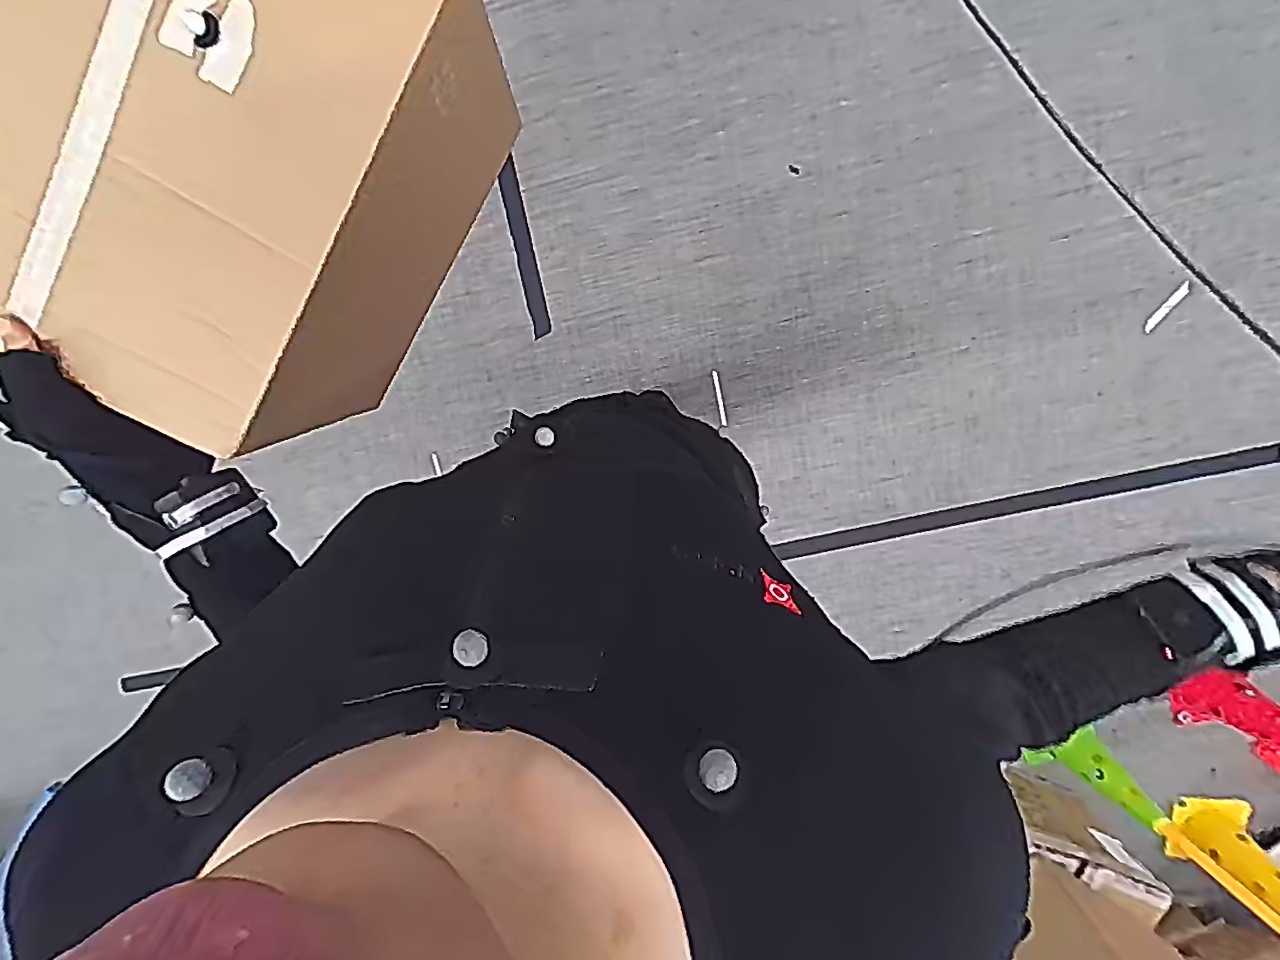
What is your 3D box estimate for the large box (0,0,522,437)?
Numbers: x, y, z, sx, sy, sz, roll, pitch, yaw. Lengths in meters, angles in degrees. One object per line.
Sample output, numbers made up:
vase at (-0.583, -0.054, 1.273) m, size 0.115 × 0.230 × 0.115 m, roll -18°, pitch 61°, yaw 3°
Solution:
large box at (-0.357, -0.304, 0.515) m, size 0.320 × 0.320 × 0.408 m, roll 29°, pitch 100°, yaw -12°
